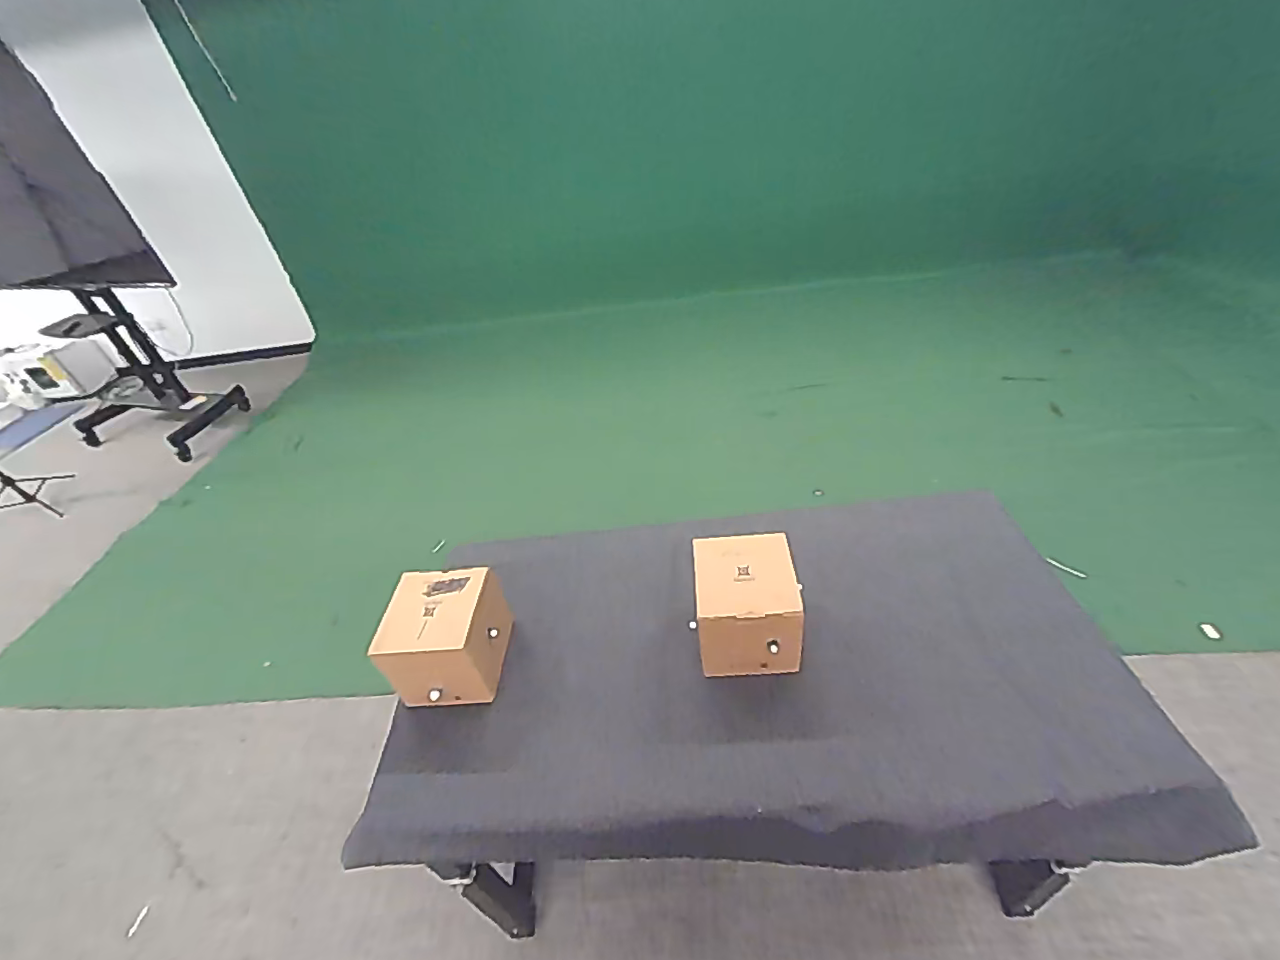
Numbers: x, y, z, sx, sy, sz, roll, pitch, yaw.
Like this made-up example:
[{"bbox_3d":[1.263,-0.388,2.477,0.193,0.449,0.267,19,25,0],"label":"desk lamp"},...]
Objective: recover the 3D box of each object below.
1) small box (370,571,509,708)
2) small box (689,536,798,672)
[{"bbox_3d":[-0.348,0.289,0.983,0.168,0.176,0.179,-5,40,5],"label":"small box"},{"bbox_3d":[0.178,0.224,0.958,0.168,0.176,0.179,-5,38,4],"label":"small box"}]
